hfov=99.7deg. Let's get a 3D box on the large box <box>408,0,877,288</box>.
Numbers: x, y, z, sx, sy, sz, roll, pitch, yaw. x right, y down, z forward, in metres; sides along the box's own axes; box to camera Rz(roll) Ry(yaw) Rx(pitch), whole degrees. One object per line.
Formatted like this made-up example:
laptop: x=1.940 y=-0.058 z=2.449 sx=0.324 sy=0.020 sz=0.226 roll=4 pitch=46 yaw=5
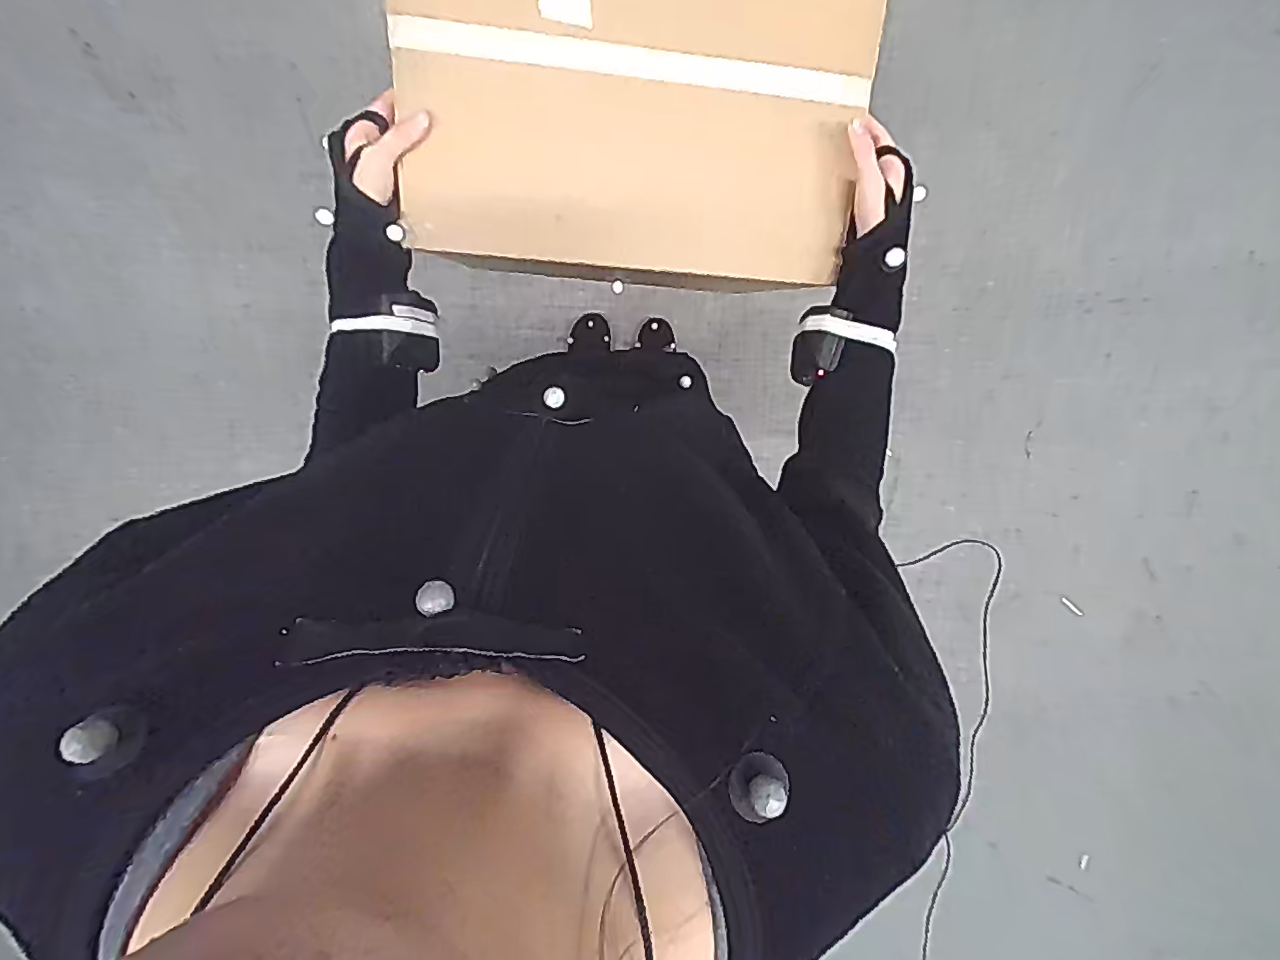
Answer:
large box: x=-0.009 y=-0.393 z=0.614 sx=0.408 sy=0.320 sz=0.320 roll=2 pitch=107 yaw=-7
